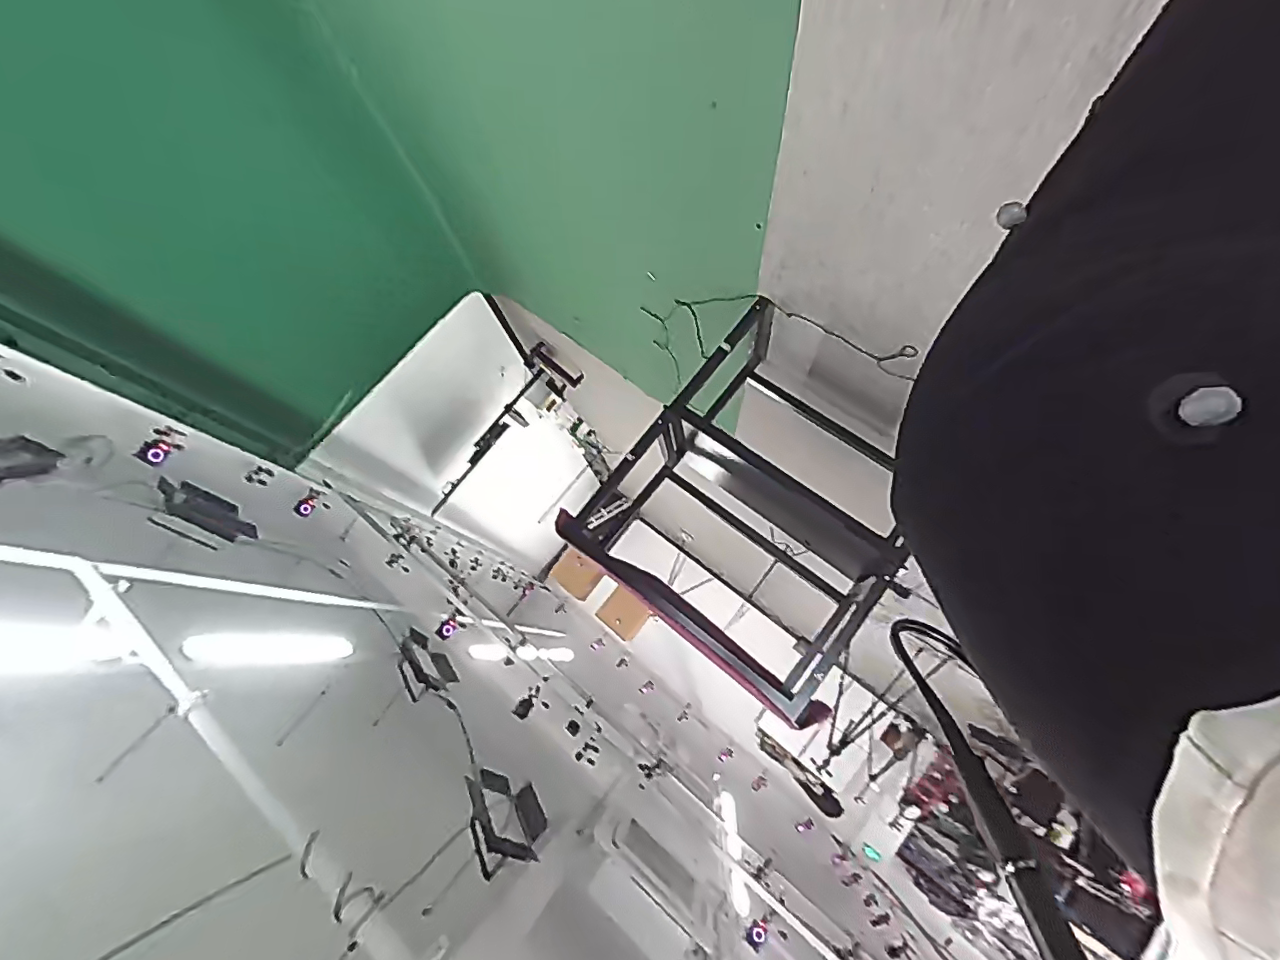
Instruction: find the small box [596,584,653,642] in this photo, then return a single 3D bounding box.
[{"bbox_3d":[-0.056,0.574,2.332,0.179,0.176,0.168,37,171,18],"label":"small box"}]
